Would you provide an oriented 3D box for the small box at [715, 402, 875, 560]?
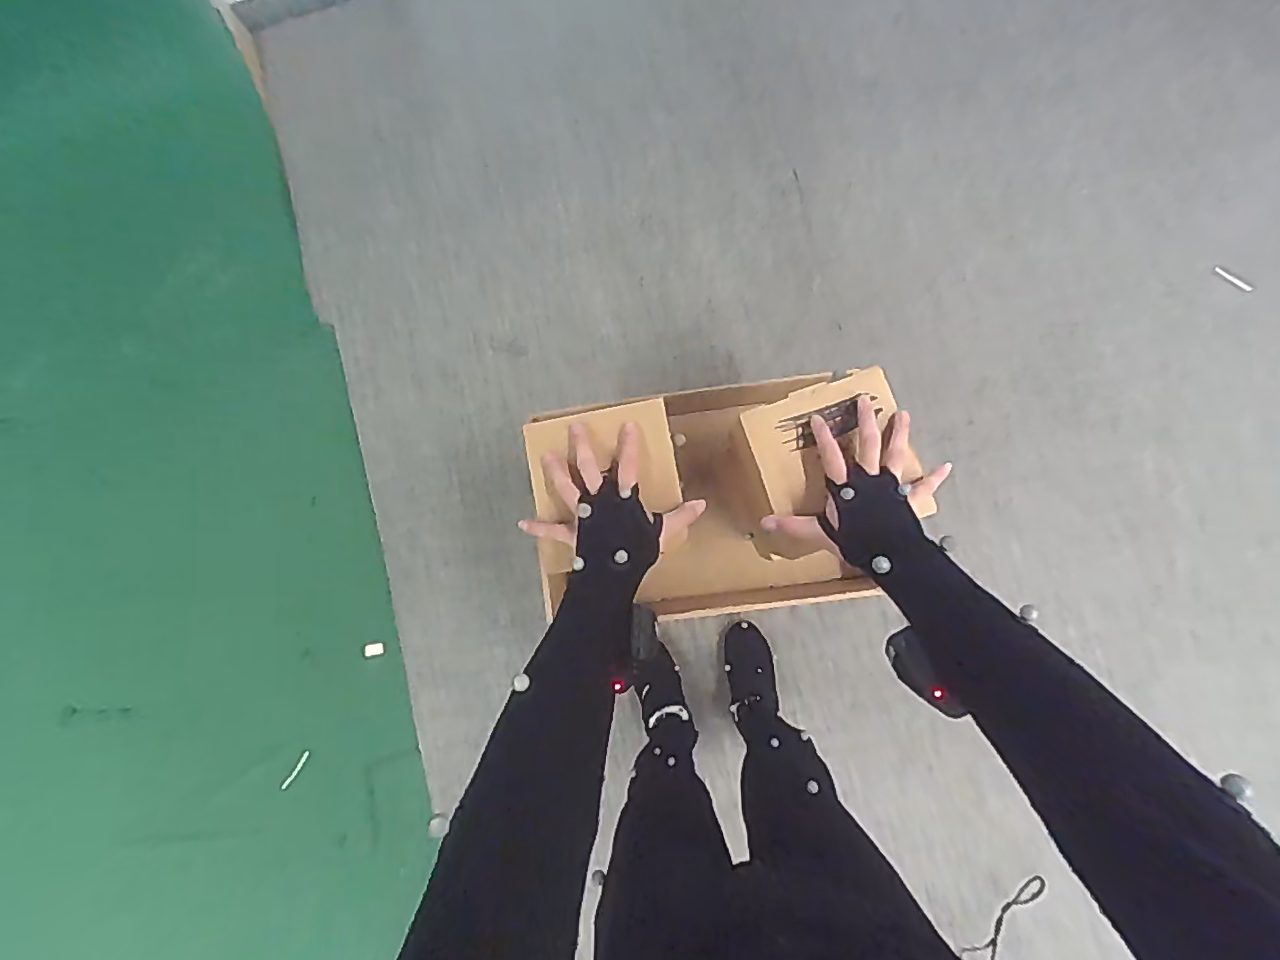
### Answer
[{"bbox_3d":[0.225,0.007,0.833,0.168,0.176,0.179,-26,82,3],"label":"small box"}]

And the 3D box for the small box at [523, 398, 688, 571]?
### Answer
[{"bbox_3d":[-0.037,0.012,0.690,0.168,0.176,0.179,-11,85,3],"label":"small box"}]
